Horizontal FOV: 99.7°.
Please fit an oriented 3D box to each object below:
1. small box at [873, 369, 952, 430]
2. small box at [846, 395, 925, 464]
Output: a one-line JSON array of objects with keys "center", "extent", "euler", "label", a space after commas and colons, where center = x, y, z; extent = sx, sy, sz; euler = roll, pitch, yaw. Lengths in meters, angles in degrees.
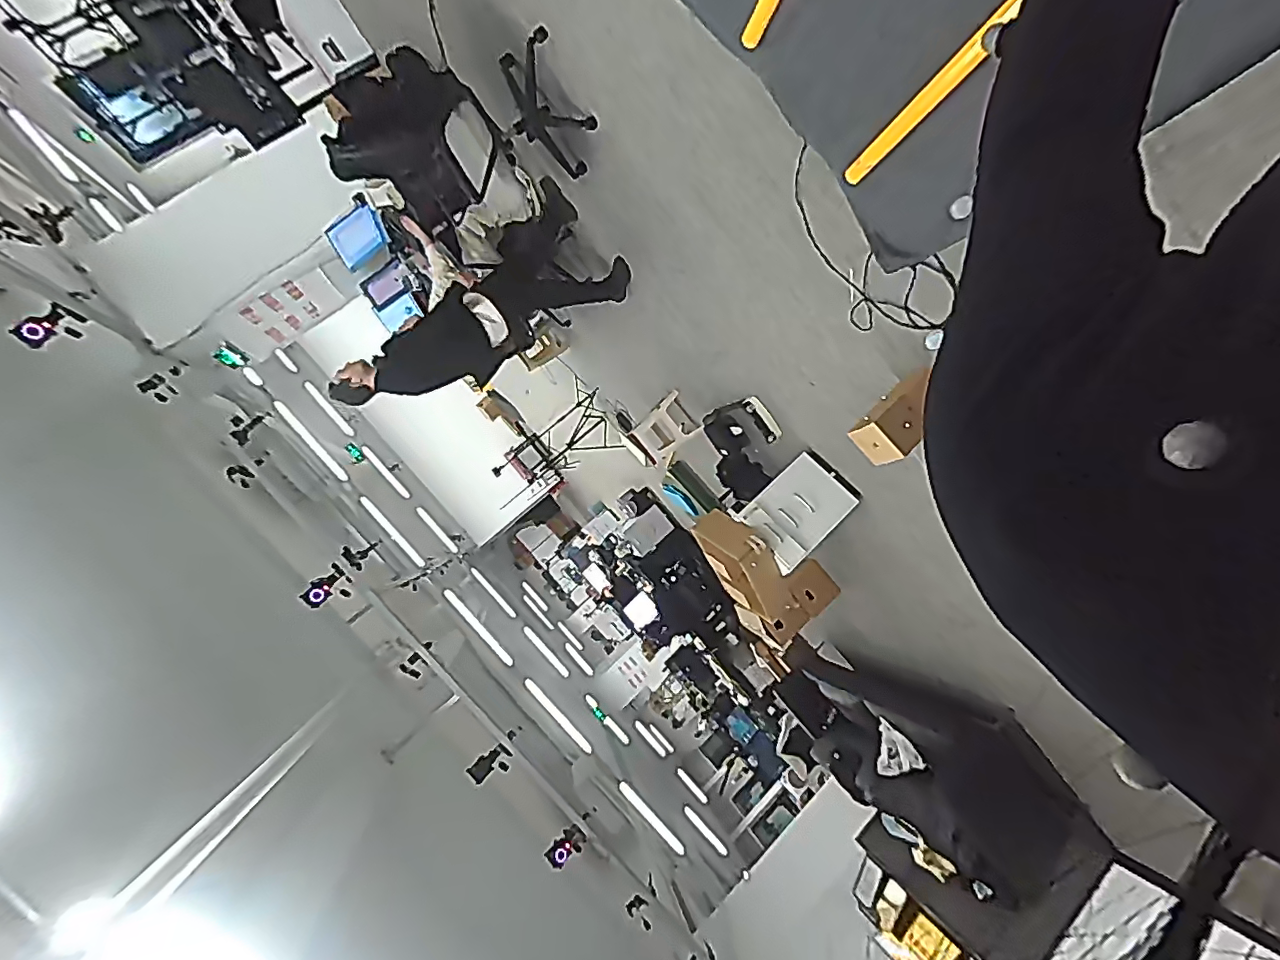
[{"center": [1.017, -0.287, 2.006], "extent": [0.168, 0.176, 0.179], "euler": [48, 168, -2], "label": "small box"}, {"center": [0.896, -0.183, 1.961], "extent": [0.168, 0.176, 0.179], "euler": [48, 168, 0], "label": "small box"}]
